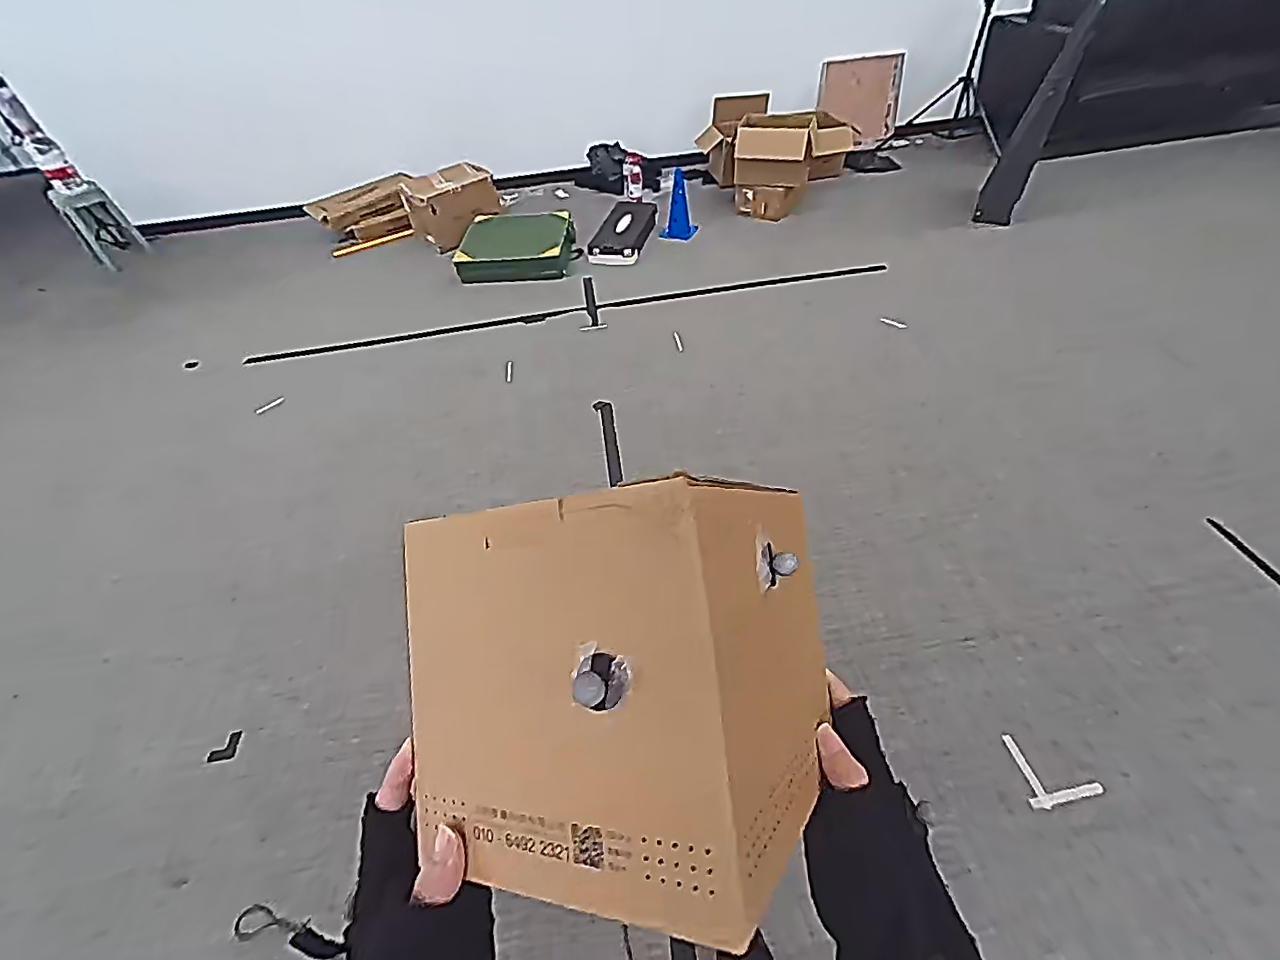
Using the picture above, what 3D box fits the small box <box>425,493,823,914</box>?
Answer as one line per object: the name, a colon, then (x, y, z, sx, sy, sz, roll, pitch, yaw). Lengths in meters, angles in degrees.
small box: (0.002, 0.106, 0.321, 0.168, 0.179, 0.176, -10, 81, 29)
